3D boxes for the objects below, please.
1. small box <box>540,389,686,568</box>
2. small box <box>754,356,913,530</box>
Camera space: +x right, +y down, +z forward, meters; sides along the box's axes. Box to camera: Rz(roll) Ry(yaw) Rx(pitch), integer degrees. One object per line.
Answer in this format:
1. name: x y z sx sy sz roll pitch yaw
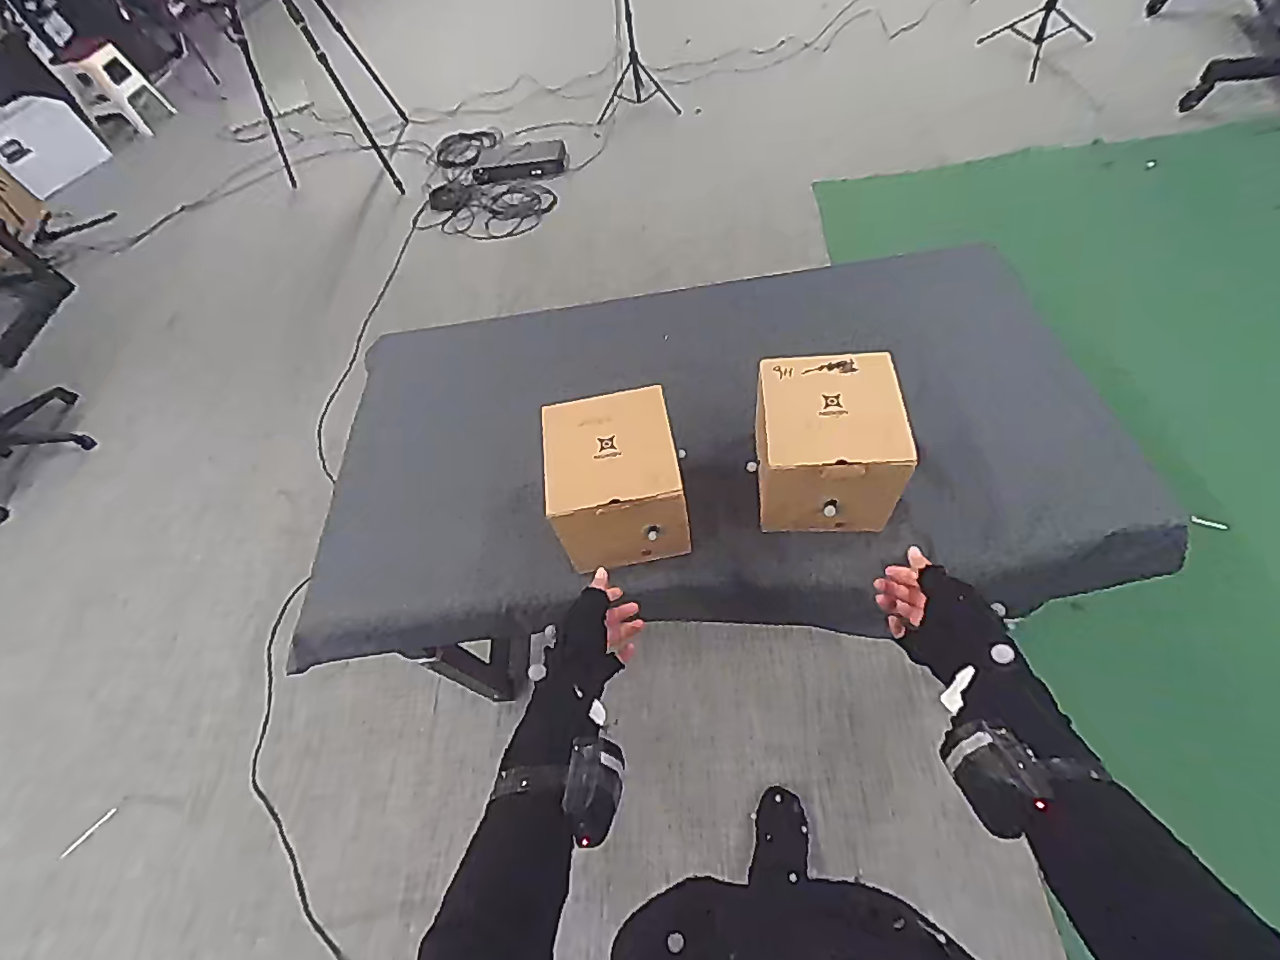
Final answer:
1. small box: -0.033 0.007 0.740 0.168 0.176 0.179 -10 55 0
2. small box: 0.243 -0.041 0.726 0.168 0.176 0.179 -1 58 8
